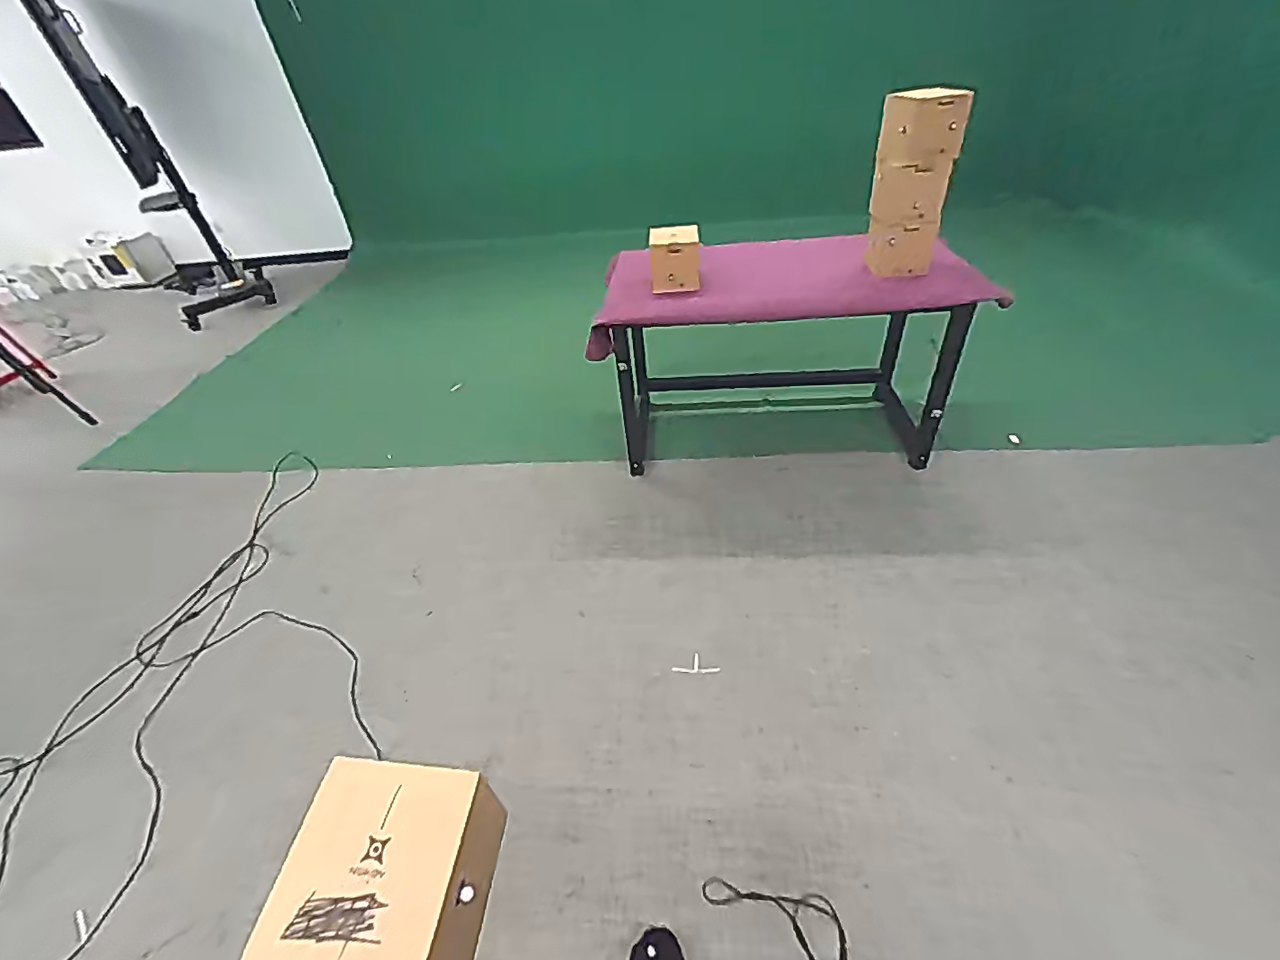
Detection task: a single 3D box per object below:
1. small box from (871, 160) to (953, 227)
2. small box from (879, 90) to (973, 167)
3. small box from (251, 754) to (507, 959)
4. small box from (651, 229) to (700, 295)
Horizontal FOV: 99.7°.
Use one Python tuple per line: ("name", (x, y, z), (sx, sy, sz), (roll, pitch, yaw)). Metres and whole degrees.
("small box", (0.846, -0.913, 1.705), (0.168, 0.176, 0.179), (-4, 40, 5))
("small box", (0.837, -1.038, 1.601), (0.168, 0.176, 0.179), (-10, 39, -5))
("small box", (-0.256, 0.426, 0.587), (0.168, 0.176, 0.179), (4, 46, 5))
("small box", (0.125, -0.764, 1.895), (0.168, 0.176, 0.179), (-2, 42, 5))
